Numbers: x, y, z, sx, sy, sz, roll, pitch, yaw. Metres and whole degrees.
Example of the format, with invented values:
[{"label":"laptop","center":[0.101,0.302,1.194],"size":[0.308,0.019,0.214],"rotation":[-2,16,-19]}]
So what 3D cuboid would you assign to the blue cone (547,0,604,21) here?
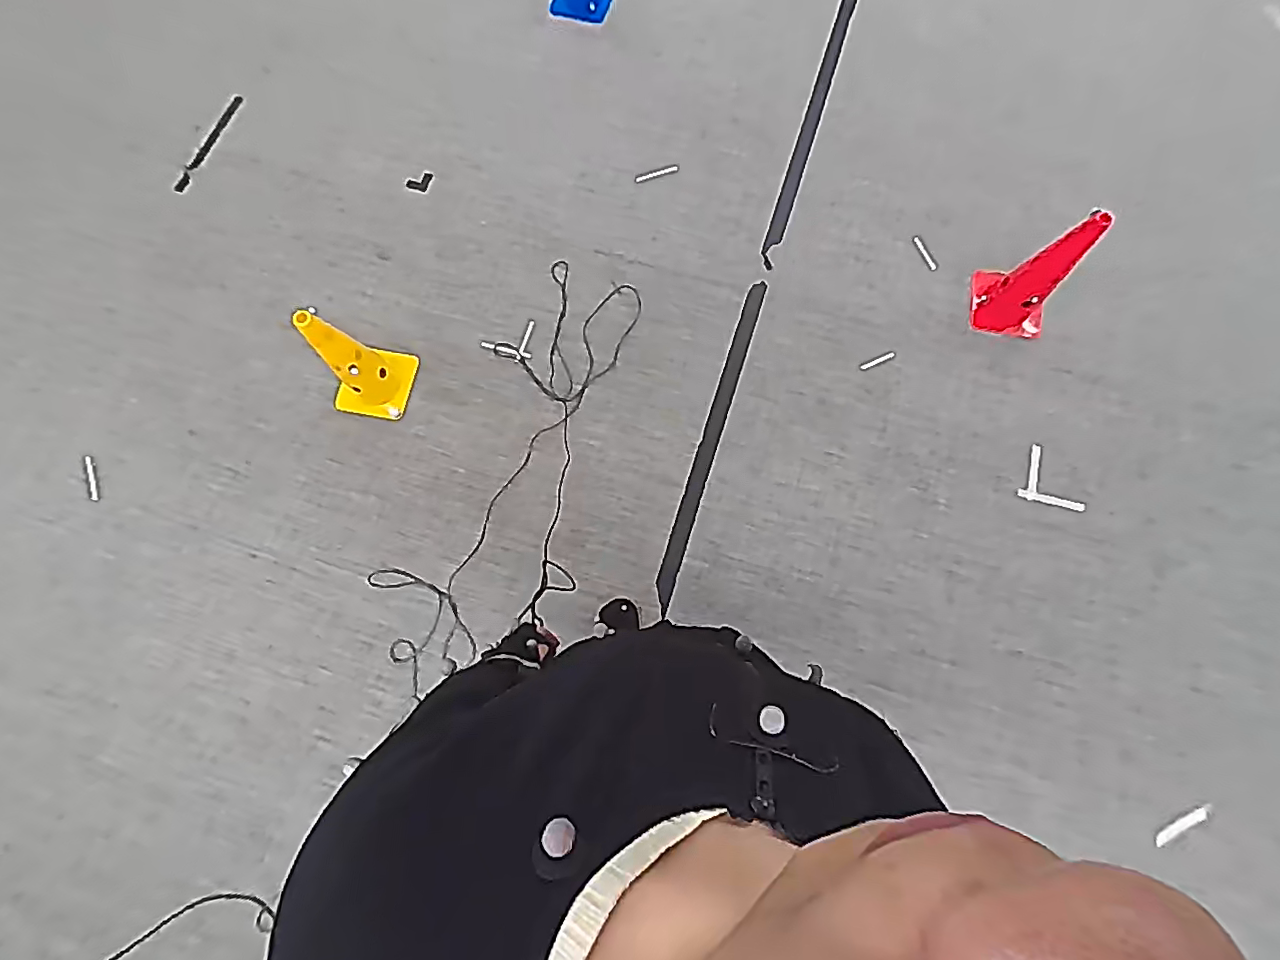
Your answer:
[{"label":"blue cone","center":[-0.222,-1.719,1.725],"size":[0.192,0.380,0.193],"rotation":[17,77,6]}]

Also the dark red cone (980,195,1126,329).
[{"label":"dark red cone","center":[1.063,-0.567,1.378],"size":[0.201,0.394,0.202],"rotation":[9,76,5]}]
